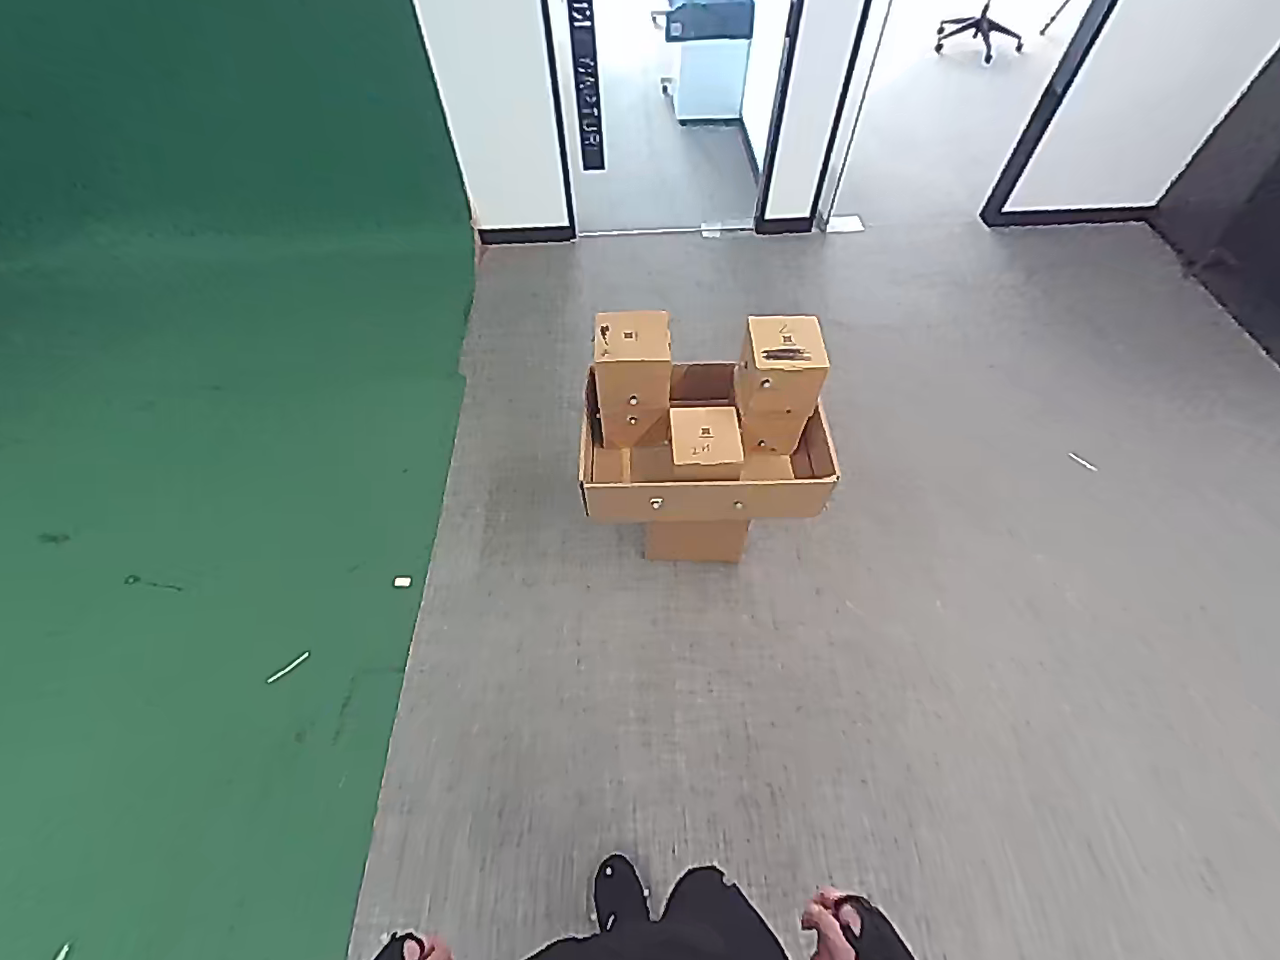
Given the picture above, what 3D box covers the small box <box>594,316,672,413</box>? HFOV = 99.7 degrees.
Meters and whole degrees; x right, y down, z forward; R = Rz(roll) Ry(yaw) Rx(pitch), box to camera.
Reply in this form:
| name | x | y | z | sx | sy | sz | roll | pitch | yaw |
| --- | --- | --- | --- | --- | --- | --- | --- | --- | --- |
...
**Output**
| name | x | y | z | sx | sy | sz | roll | pitch | yaw |
| --- | --- | --- | --- | --- | --- | --- | --- | --- | --- |
| small box | -0.018 | -0.277 | 1.320 | 0.179 | 0.176 | 0.168 | 0 | 56 | -1 |
